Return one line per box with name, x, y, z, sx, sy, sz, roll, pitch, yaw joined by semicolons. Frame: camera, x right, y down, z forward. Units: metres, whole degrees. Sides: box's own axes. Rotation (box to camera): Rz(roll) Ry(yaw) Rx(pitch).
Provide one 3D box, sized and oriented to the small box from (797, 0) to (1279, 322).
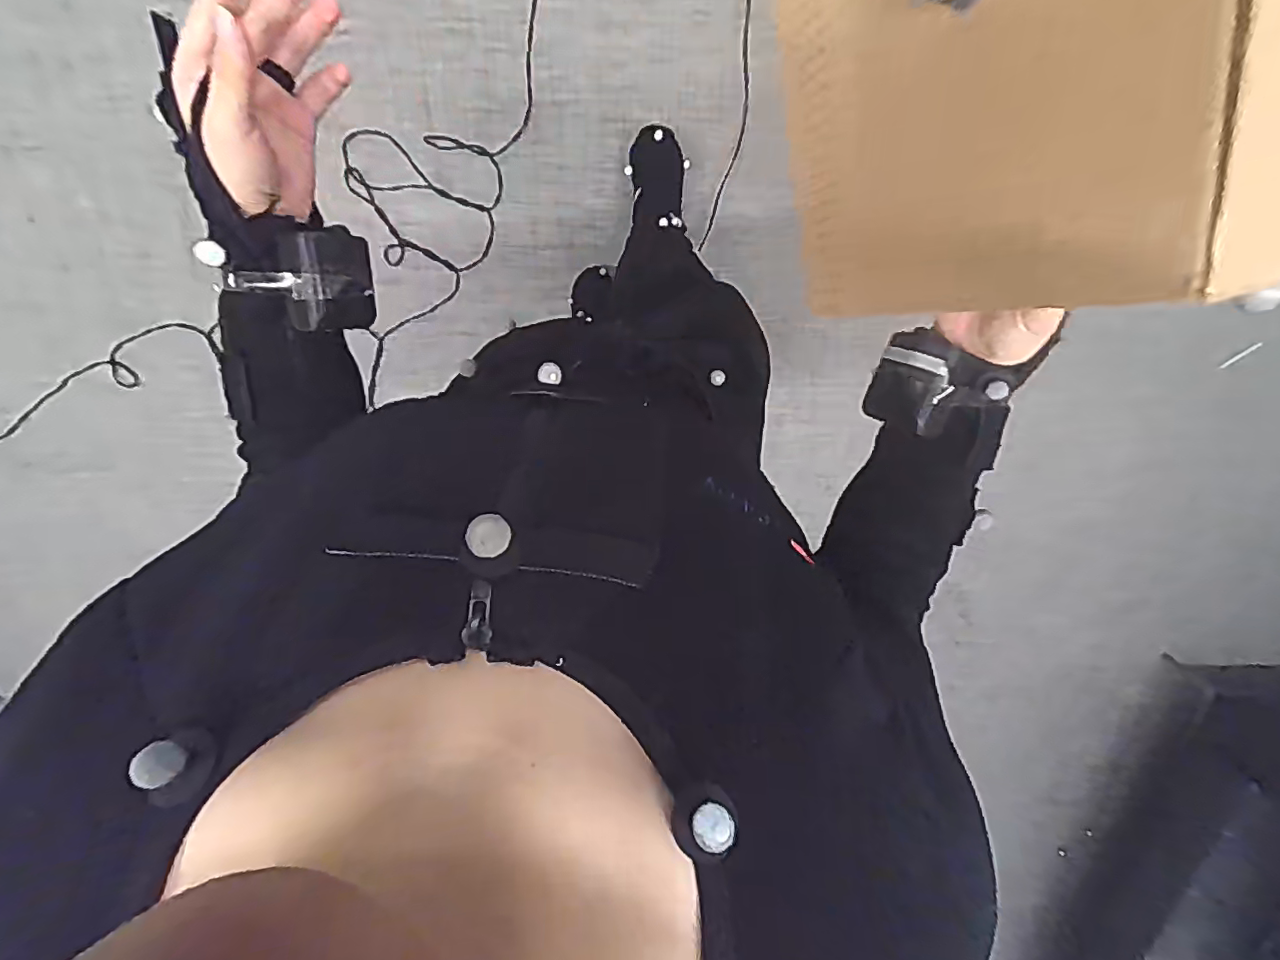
small box;0.180;-0.168;0.211;0.168;0.176;0.179;-18;108;-12
